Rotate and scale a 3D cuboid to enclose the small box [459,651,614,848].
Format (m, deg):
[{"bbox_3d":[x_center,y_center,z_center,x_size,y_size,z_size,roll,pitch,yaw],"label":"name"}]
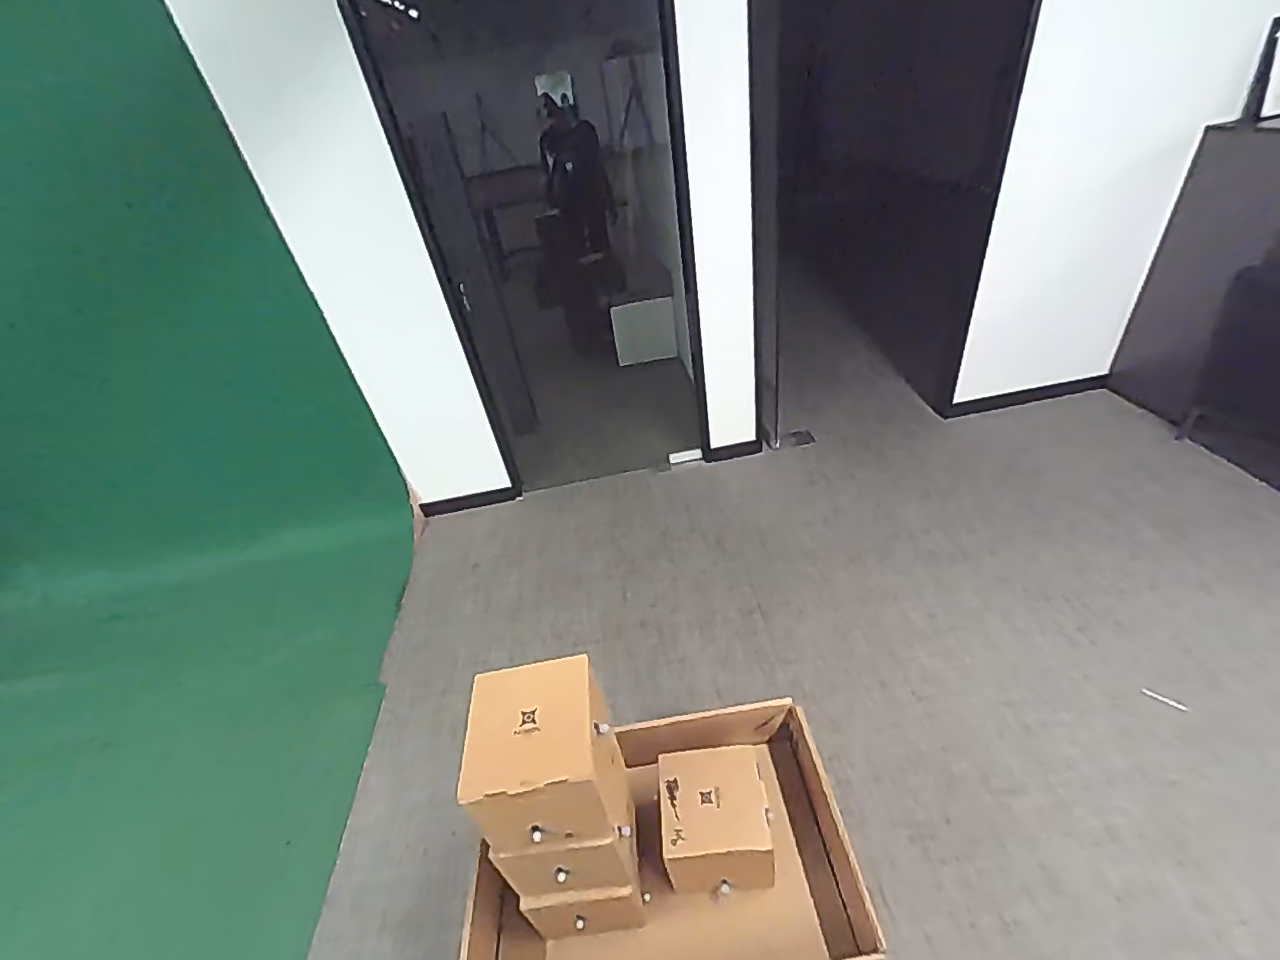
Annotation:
[{"bbox_3d":[-0.134,0.373,0.755,0.168,0.176,0.179,-10,36,-1],"label":"small box"}]
